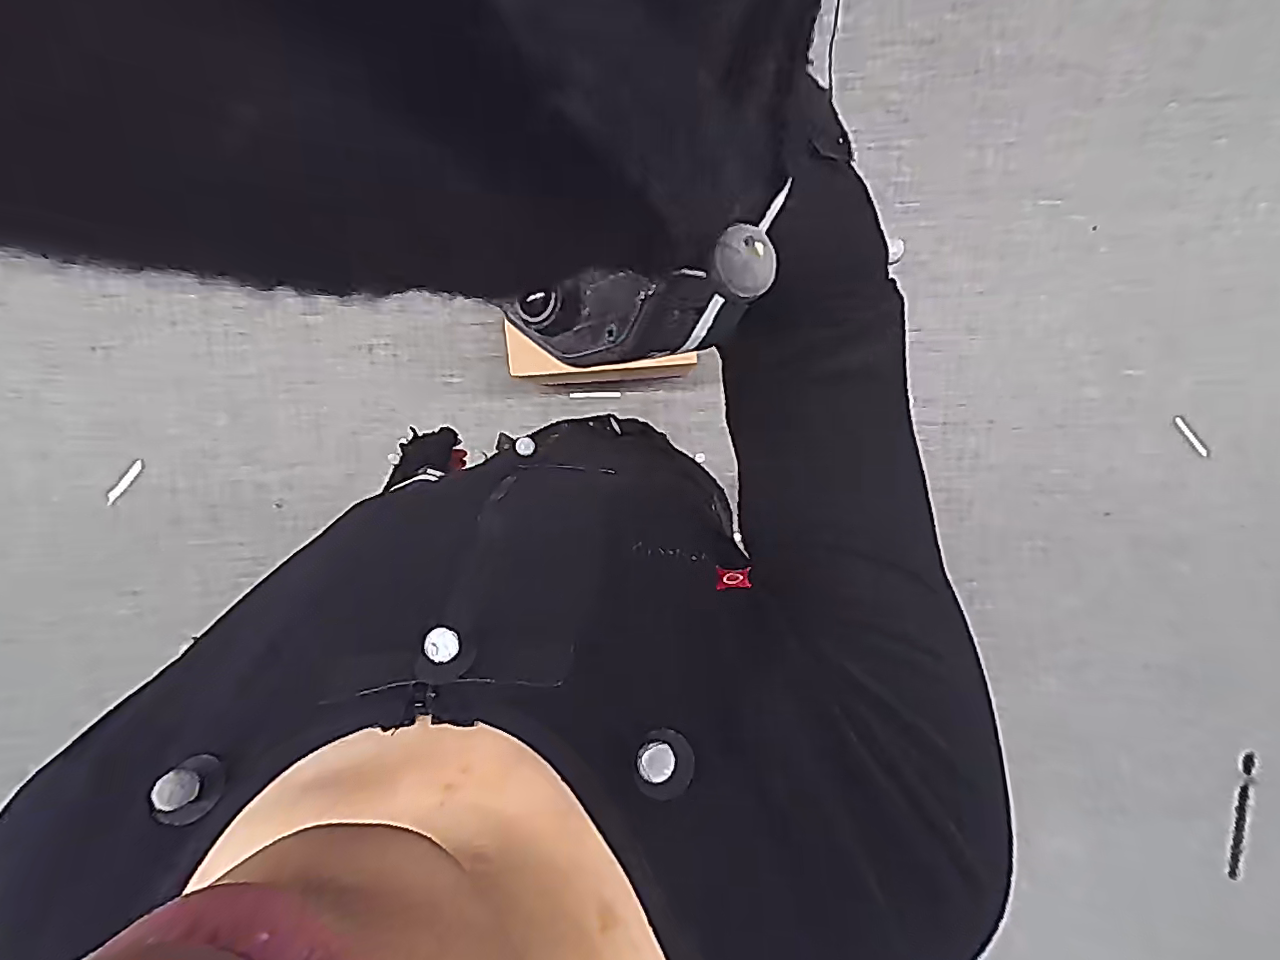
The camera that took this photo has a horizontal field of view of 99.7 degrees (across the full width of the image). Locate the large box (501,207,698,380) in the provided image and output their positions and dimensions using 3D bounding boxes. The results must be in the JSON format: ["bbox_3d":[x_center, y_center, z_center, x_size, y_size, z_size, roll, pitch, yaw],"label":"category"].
[{"bbox_3d":[-0.086,-0.422,1.300,0.408,0.320,0.320,-4,97,0],"label":"large box"}]
